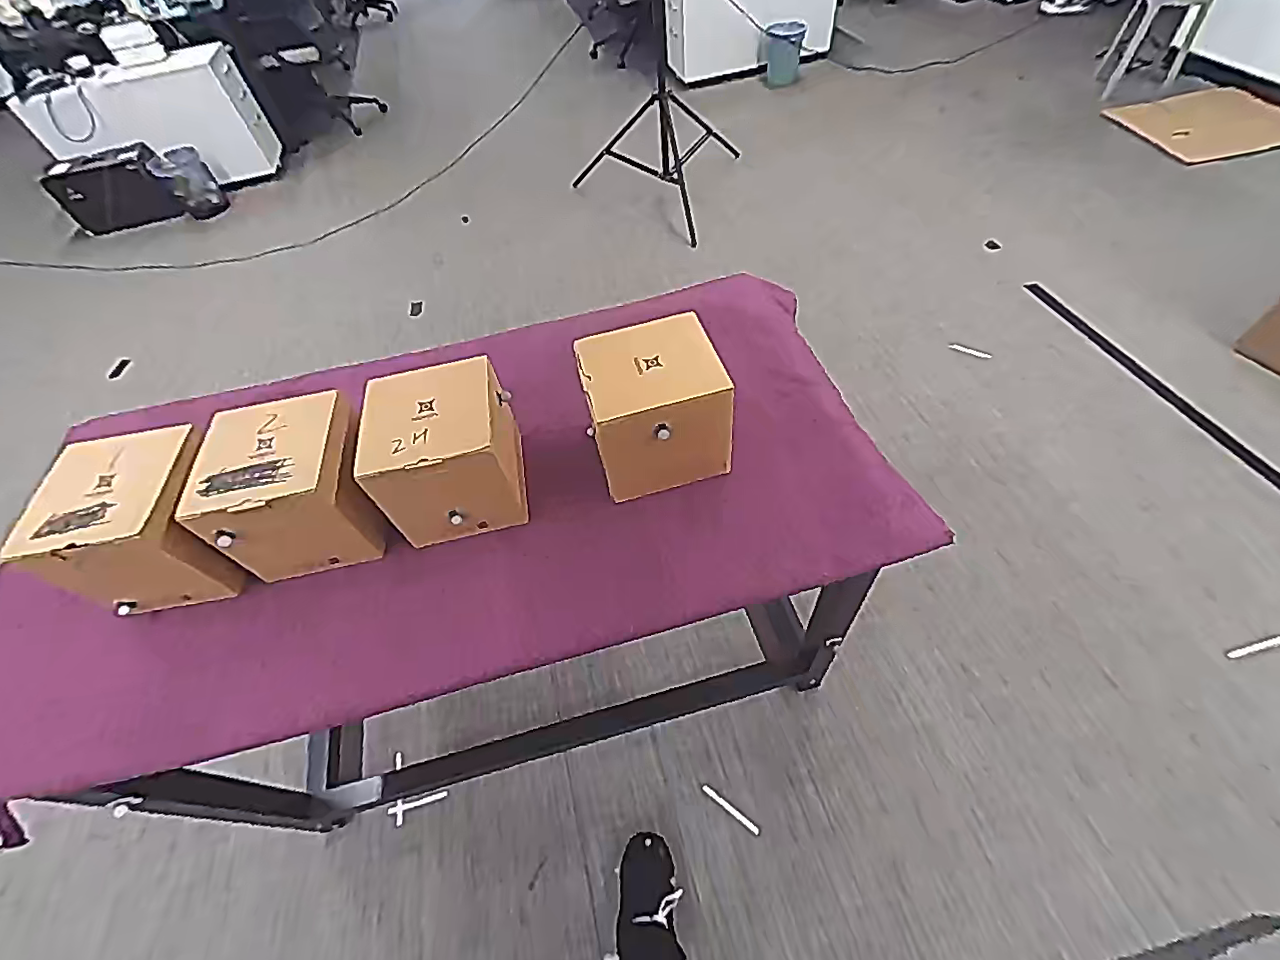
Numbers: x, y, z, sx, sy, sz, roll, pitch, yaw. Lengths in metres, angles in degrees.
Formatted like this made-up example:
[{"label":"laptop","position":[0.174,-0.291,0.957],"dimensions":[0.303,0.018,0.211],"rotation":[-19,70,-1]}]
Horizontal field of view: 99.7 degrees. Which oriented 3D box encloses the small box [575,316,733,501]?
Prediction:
[{"label":"small box","position":[0.020,-0.096,0.761],"dimensions":[0.179,0.176,0.168],"rotation":[-16,52,-3]}]
